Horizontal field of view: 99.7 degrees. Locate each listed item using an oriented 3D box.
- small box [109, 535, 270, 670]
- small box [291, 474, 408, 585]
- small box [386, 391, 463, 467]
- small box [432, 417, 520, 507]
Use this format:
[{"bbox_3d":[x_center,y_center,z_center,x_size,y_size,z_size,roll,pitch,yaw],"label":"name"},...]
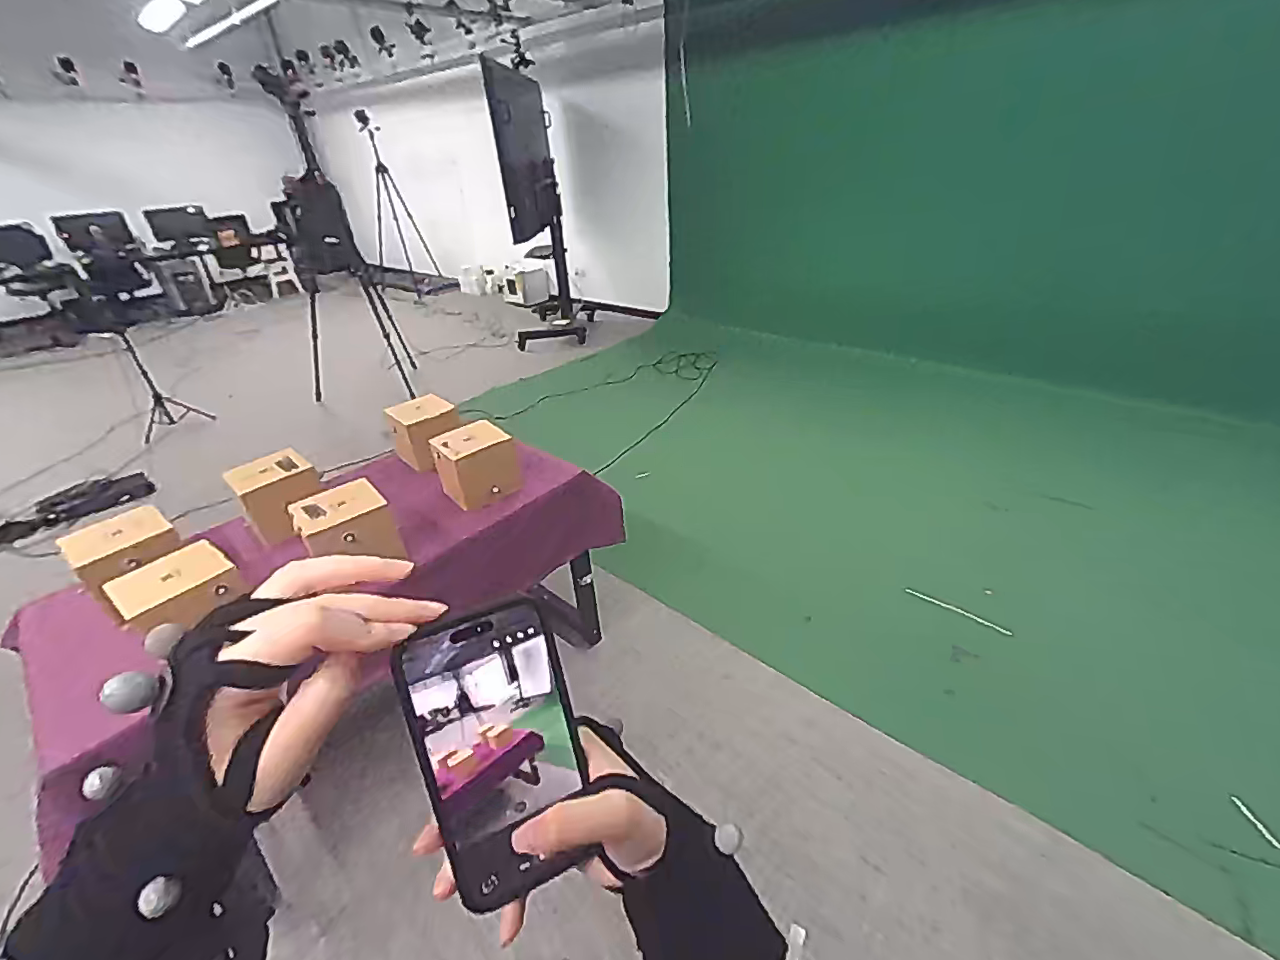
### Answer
[{"bbox_3d":[-0.897,0.244,1.087,0.168,0.176,0.179,19,37,32],"label":"small box"},{"bbox_3d":[-0.675,0.116,1.267,0.179,0.176,0.168,-27,39,-33],"label":"small box"},{"bbox_3d":[-0.670,-0.161,1.706,0.168,0.176,0.179,-30,41,-34],"label":"small box"},{"bbox_3d":[-0.450,-0.051,1.511,0.179,0.176,0.168,-26,38,-32],"label":"small box"}]
